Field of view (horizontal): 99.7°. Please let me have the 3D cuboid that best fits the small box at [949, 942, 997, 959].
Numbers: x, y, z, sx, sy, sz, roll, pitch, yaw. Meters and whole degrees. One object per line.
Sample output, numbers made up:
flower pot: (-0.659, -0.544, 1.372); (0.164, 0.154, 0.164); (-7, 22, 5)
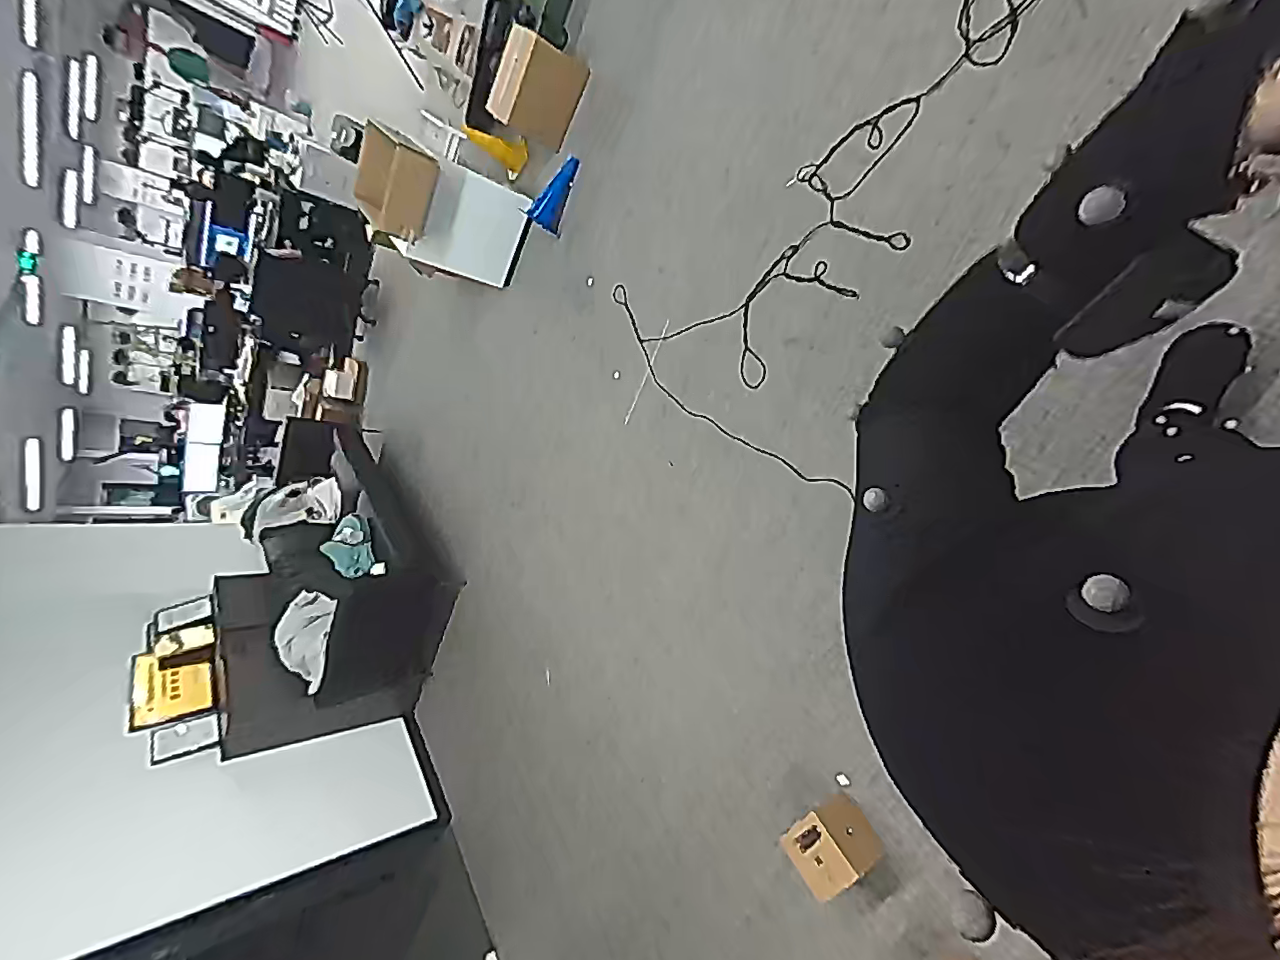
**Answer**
small box: (0.792, 1.245, 1.267); (0.168, 0.176, 0.179); (49, 121, 37)
